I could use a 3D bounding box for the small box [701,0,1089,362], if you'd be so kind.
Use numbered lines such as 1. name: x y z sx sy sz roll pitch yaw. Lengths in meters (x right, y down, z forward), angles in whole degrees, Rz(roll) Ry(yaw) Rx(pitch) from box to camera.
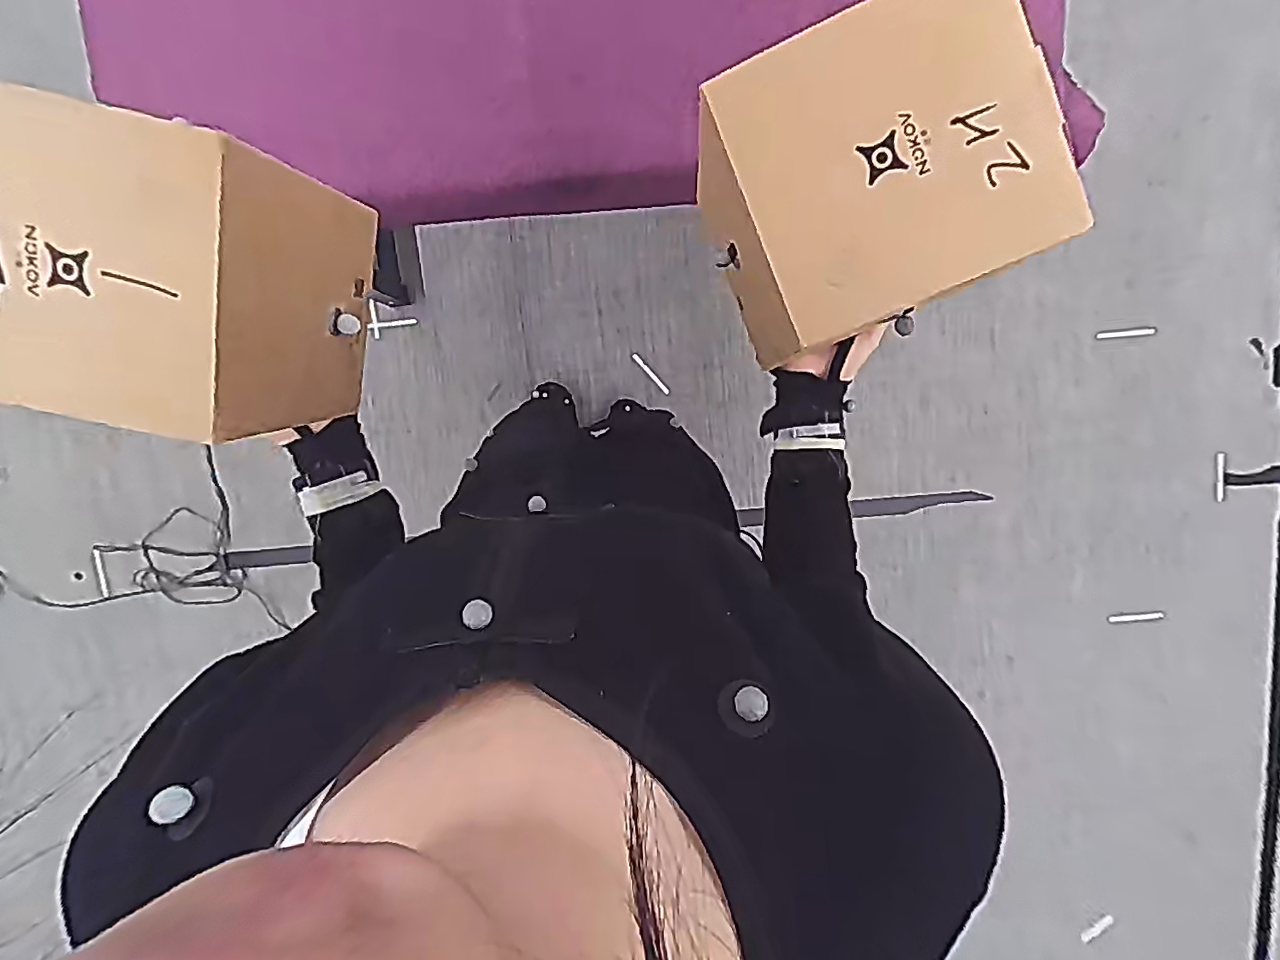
1. small box: 0.152 -0.195 0.389 0.179 0.176 0.168 -22 95 7

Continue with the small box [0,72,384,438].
1. small box: -0.305 -0.136 0.364 0.179 0.176 0.168 12 103 -4
